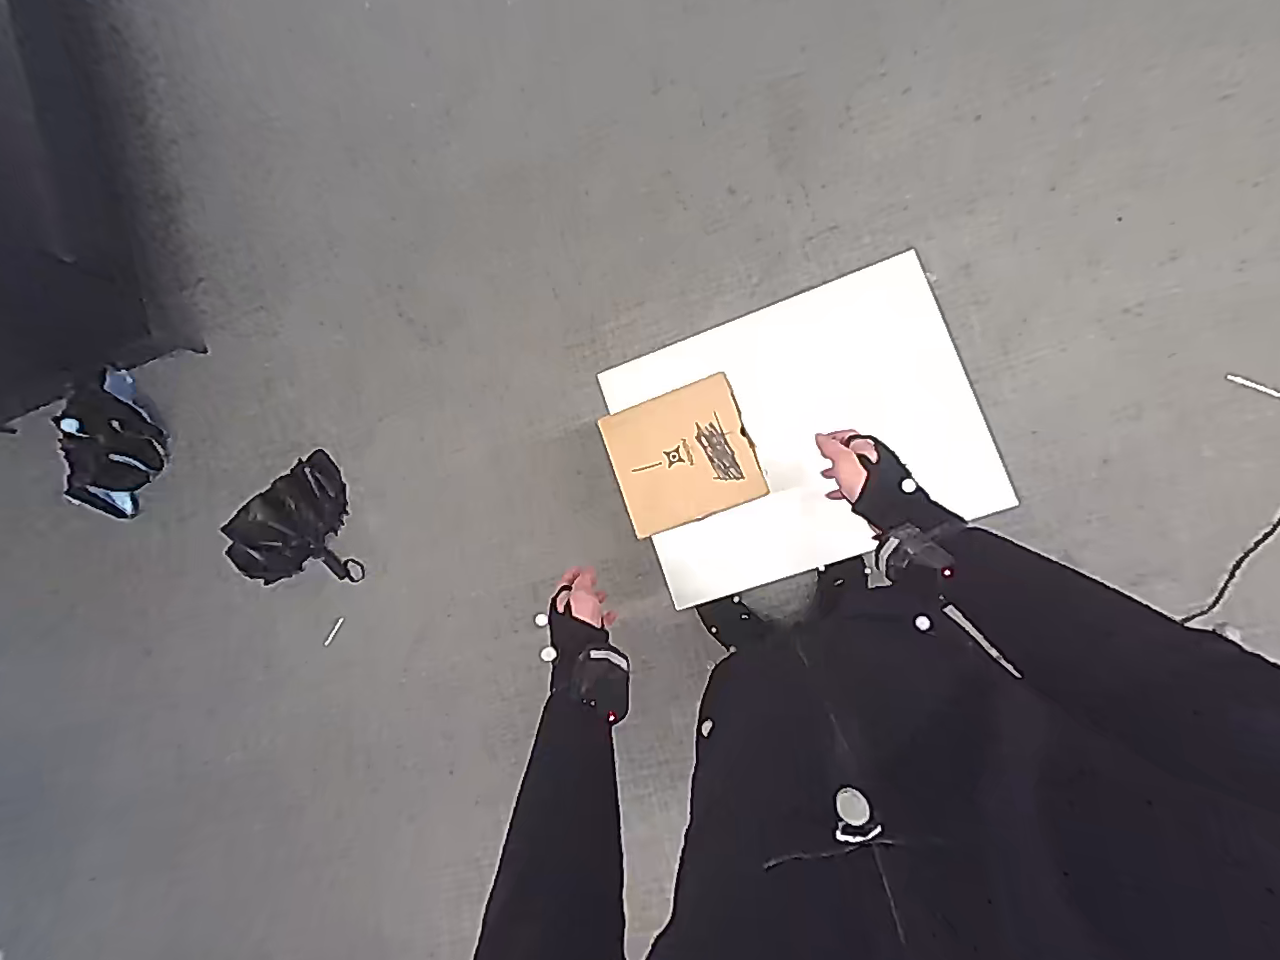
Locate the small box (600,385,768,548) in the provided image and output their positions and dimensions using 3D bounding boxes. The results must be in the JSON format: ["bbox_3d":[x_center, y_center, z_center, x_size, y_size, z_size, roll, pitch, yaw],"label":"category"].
[{"bbox_3d":[0.065,-0.013,0.757,0.179,0.176,0.168,-20,83,9],"label":"small box"}]
